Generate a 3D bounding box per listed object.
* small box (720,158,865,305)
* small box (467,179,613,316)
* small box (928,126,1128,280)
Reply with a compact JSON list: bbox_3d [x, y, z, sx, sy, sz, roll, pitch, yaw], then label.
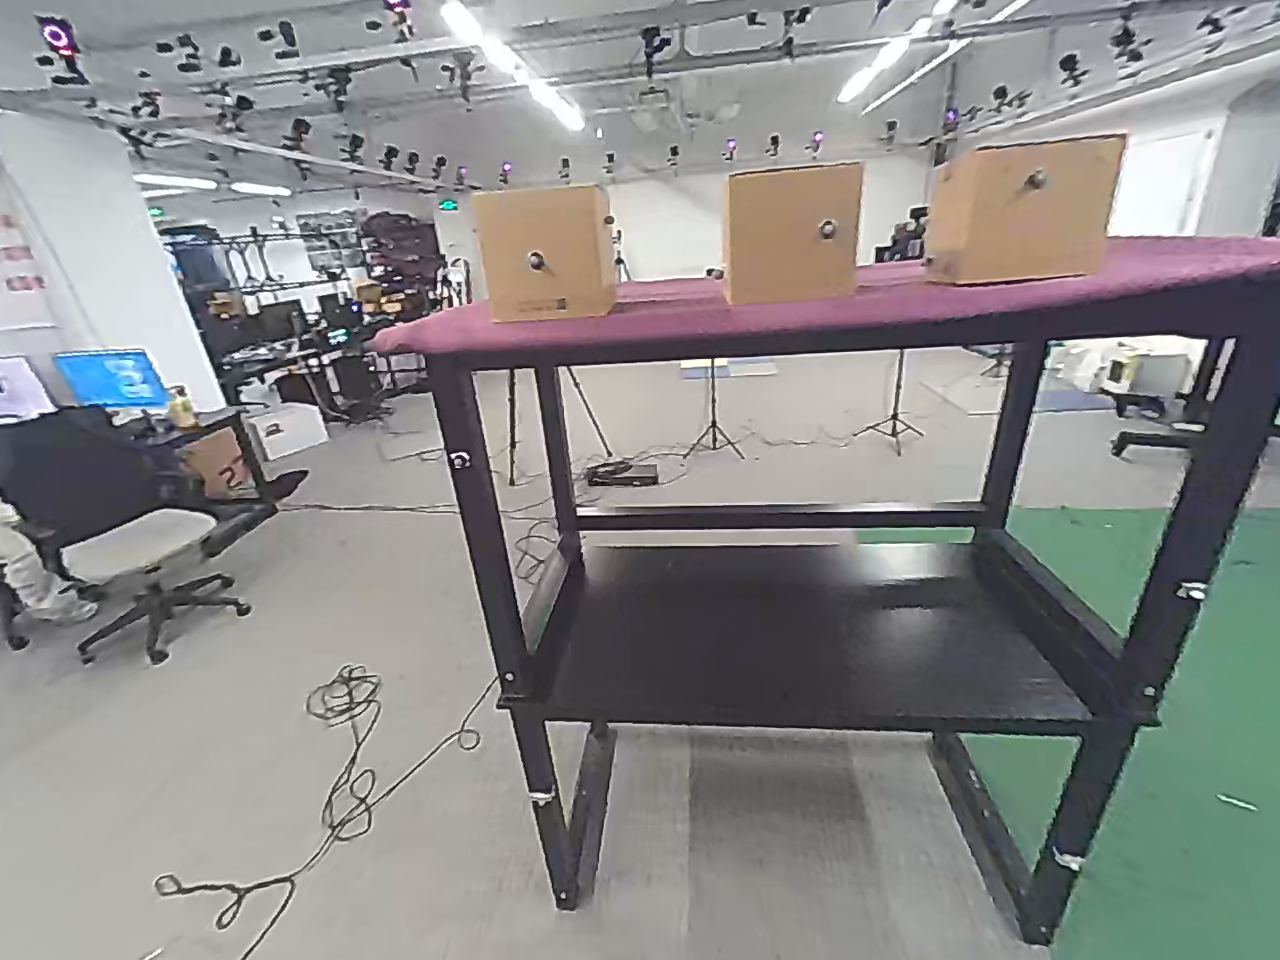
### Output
[{"bbox_3d":[0.209,-0.359,0.791,0.179,0.176,0.168,-3,24,6],"label":"small box"},{"bbox_3d":[-0.133,-0.339,0.801,0.168,0.176,0.179,-1,25,4],"label":"small box"},{"bbox_3d":[0.531,-0.382,0.774,0.179,0.176,0.168,-1,23,8],"label":"small box"}]
